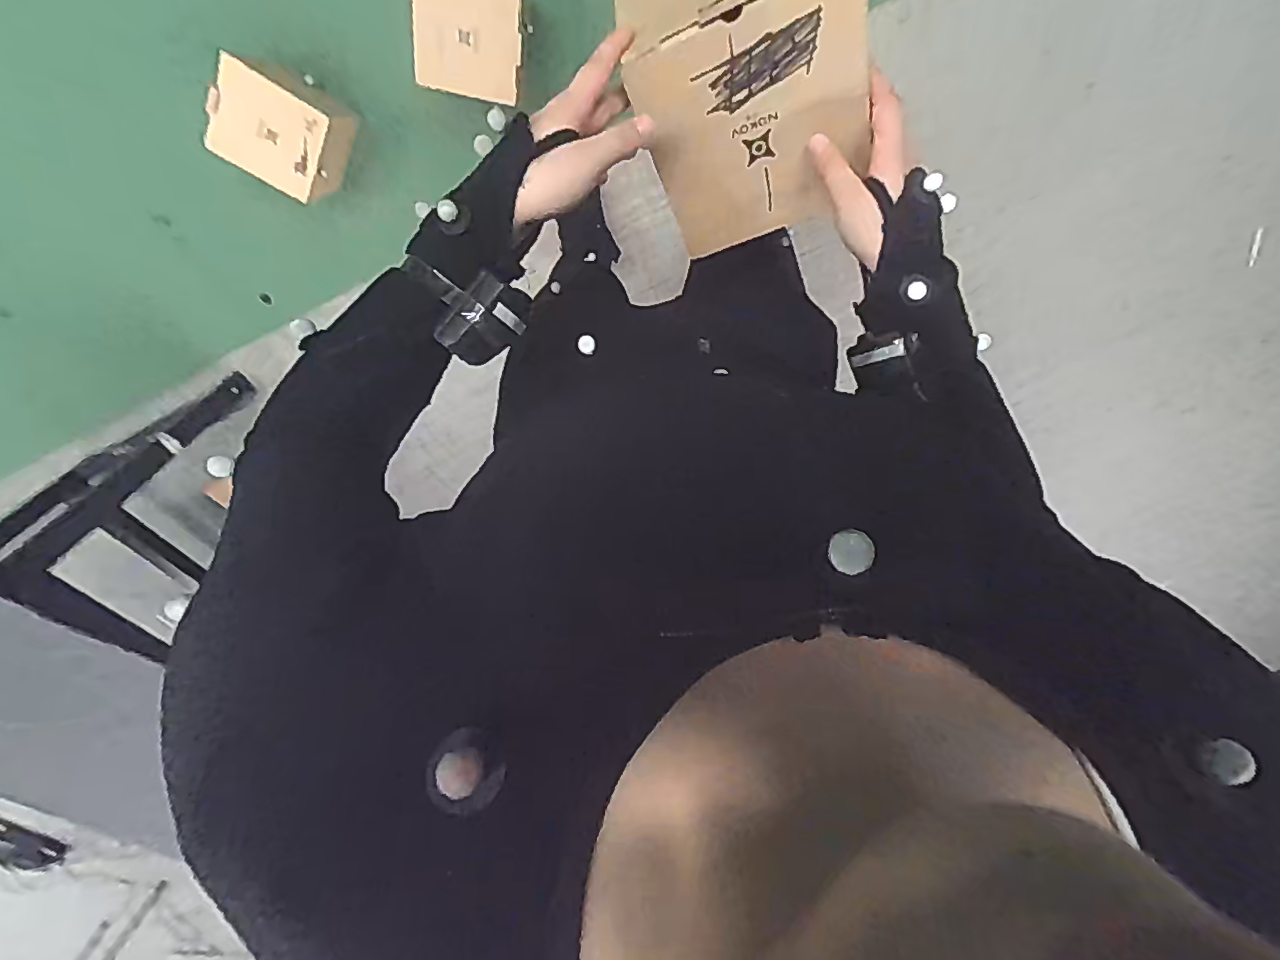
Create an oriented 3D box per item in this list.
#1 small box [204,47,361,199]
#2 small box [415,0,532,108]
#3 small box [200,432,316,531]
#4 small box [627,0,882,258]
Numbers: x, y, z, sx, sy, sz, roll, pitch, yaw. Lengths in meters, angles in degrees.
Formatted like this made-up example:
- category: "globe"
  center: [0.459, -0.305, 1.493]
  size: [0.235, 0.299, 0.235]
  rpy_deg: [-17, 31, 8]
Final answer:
- category: "small box"
  center: [-0.667, -0.667, 1.022]
  size: [0.179, 0.176, 0.168]
  rpy_deg: [27, 119, -22]
- category: "small box"
  center: [-0.293, -0.788, 0.972]
  size: [0.179, 0.176, 0.168]
  rpy_deg: [7, 124, -9]
- category: "small box"
  center: [-1.017, -0.001, 1.464]
  size: [0.179, 0.176, 0.168]
  rpy_deg: [-26, 123, 13]
- category: "small box"
  center: [0.095, -0.336, 0.459]
  size: [0.168, 0.176, 0.179]
  rpy_deg: [-15, 148, 17]
